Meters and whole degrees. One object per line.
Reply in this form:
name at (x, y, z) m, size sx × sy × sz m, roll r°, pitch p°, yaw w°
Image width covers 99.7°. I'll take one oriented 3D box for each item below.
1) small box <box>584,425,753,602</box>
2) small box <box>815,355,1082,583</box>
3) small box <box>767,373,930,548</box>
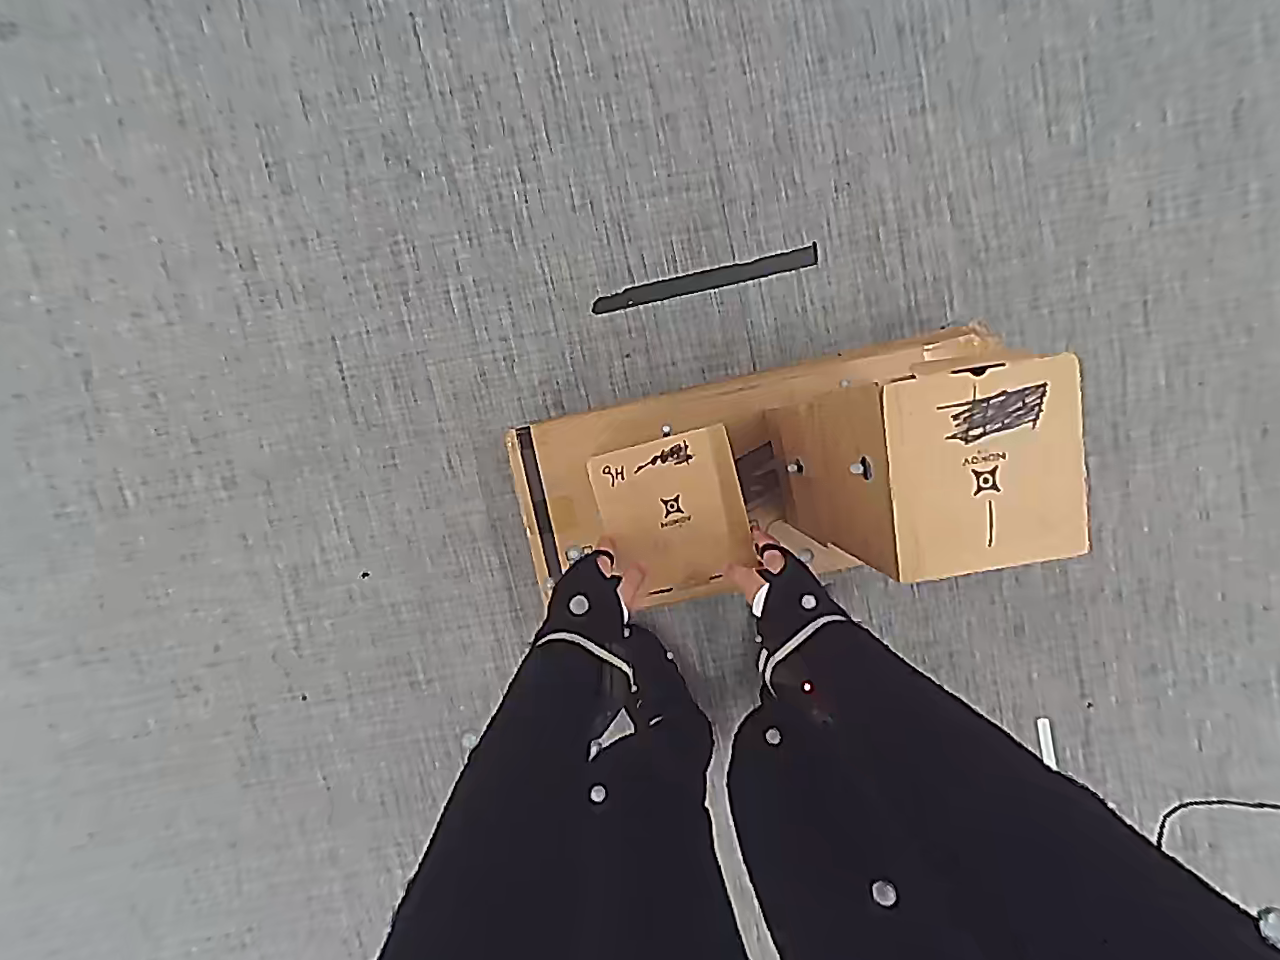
small box at (0.034, 0.032, 0.701) m, size 0.168 × 0.176 × 0.179 m, roll -15°, pitch 97°, yaw 0°
small box at (0.285, -0.015, 0.535) m, size 0.168 × 0.176 × 0.179 m, roll -9°, pitch 96°, yaw 0°
small box at (0.274, -0.027, 0.699) m, size 0.168 × 0.176 × 0.179 m, roll -13°, pitch 96°, yaw 1°
